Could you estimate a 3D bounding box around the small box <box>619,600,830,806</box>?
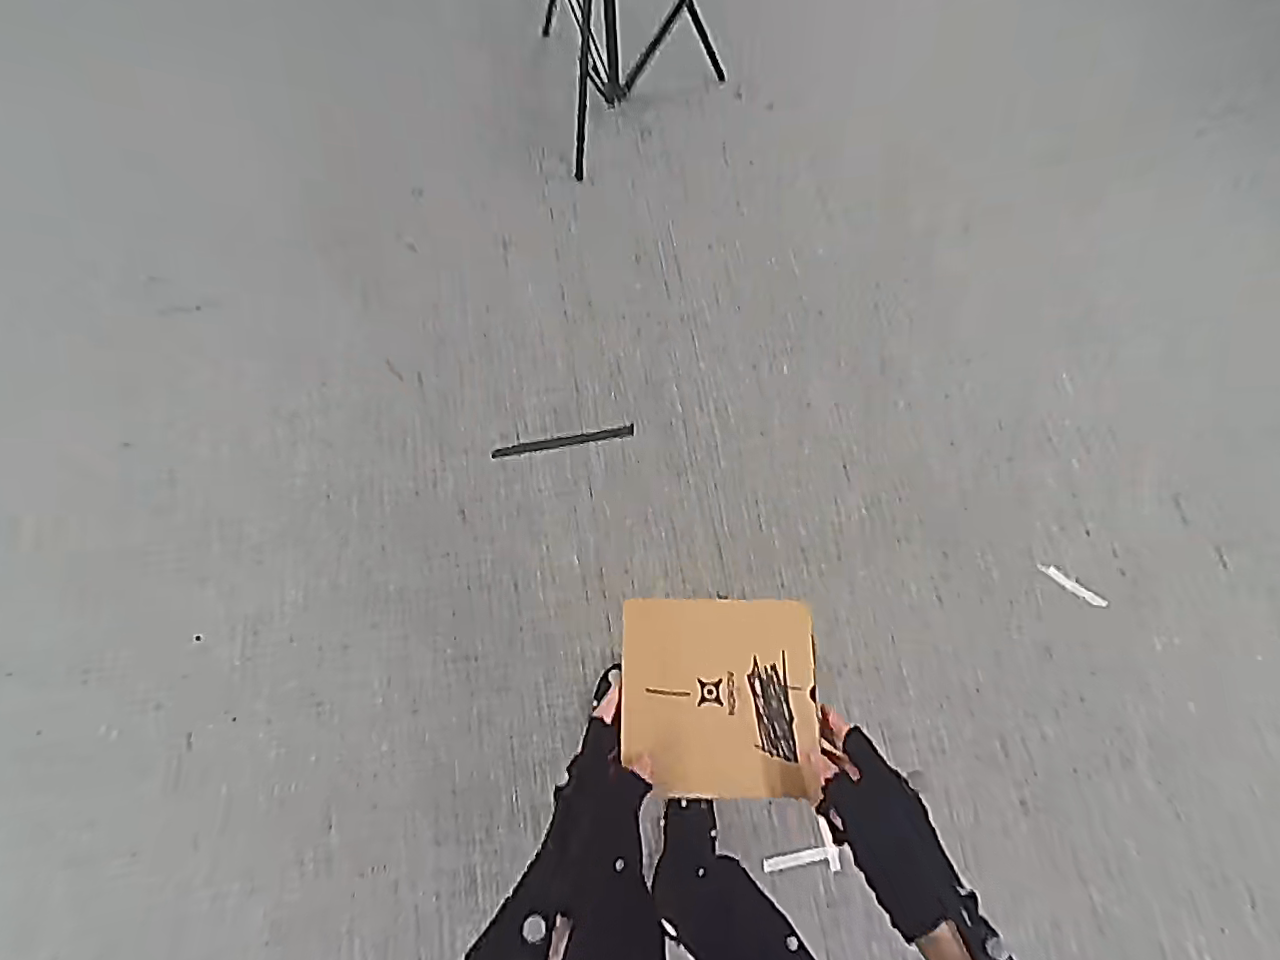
[{"bbox_3d":[0.070,0.209,0.539,0.179,0.176,0.168,0,73,0],"label":"small box"}]
